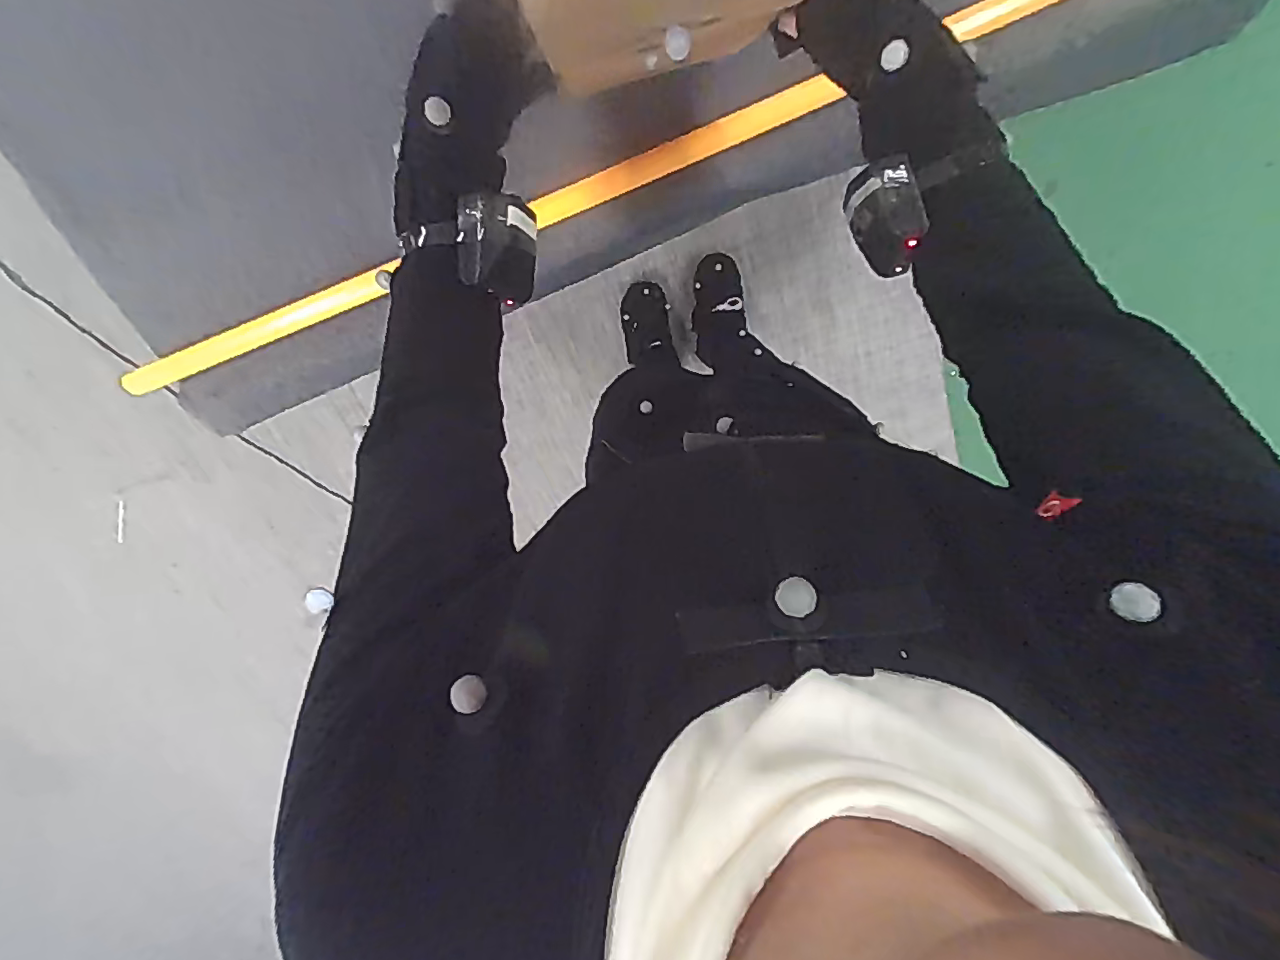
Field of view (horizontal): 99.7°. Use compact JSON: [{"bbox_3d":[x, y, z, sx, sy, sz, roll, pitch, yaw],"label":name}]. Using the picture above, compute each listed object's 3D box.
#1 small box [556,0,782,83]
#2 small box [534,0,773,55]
[{"bbox_3d":[0.002,-0.412,0.377,0.168,0.176,0.179,-13,119,5],"label":"small box"},{"bbox_3d":[0.007,-0.326,0.236,0.168,0.176,0.179,-12,120,4],"label":"small box"}]
